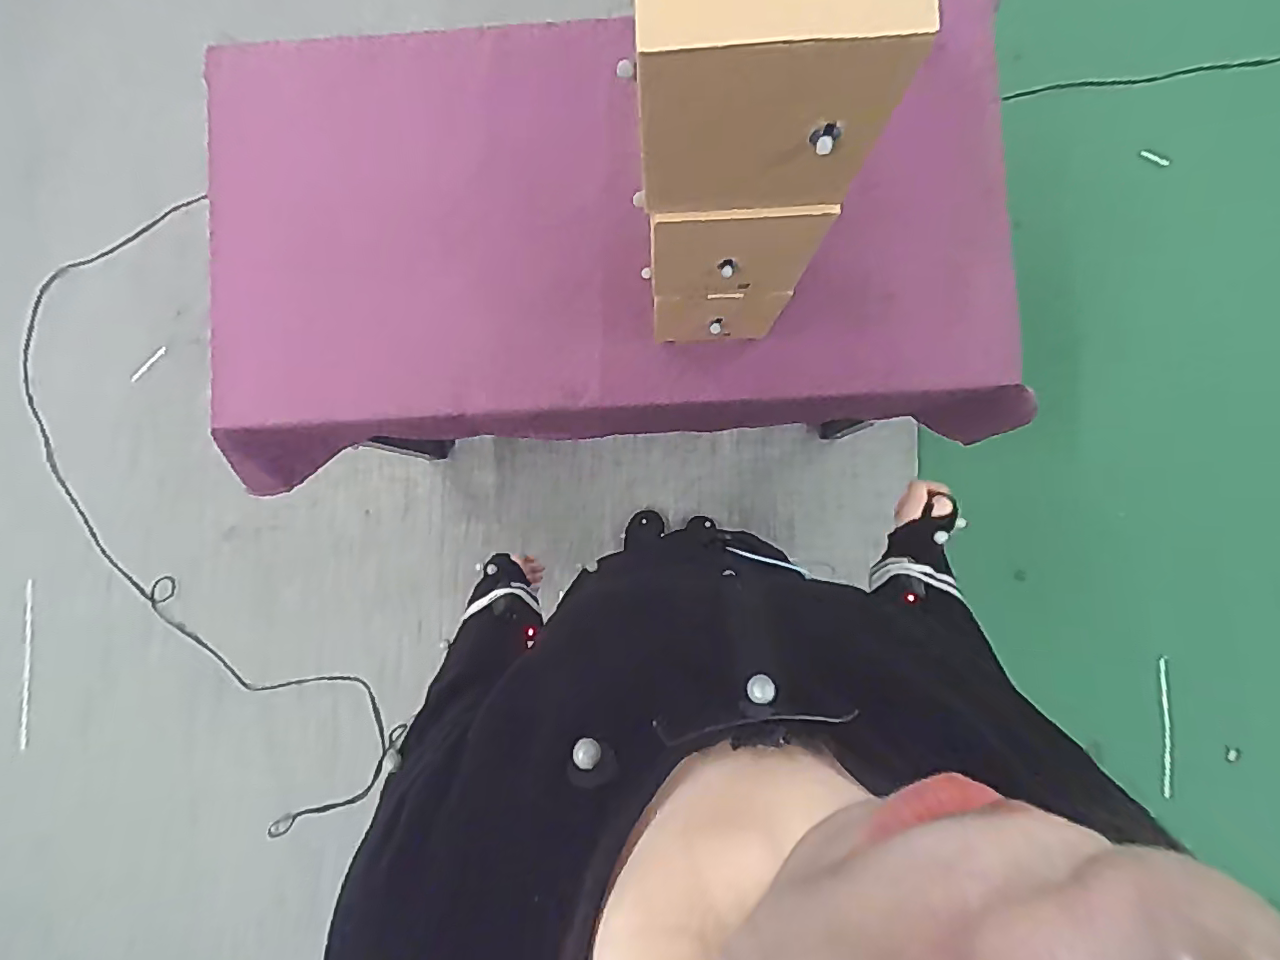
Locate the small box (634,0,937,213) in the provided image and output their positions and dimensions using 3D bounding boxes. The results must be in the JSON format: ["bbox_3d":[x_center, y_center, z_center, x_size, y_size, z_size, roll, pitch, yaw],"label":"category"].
[{"bbox_3d":[0.085,-0.321,0.398,0.179,0.176,0.168,-2,86,1],"label":"small box"}]

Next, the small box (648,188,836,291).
[{"bbox_3d":[0.092,-0.307,0.561,0.168,0.176,0.179,-2,87,1],"label":"small box"}]

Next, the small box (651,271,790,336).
[{"bbox_3d":[0.099,-0.299,0.726,0.168,0.176,0.179,-2,88,1],"label":"small box"}]
